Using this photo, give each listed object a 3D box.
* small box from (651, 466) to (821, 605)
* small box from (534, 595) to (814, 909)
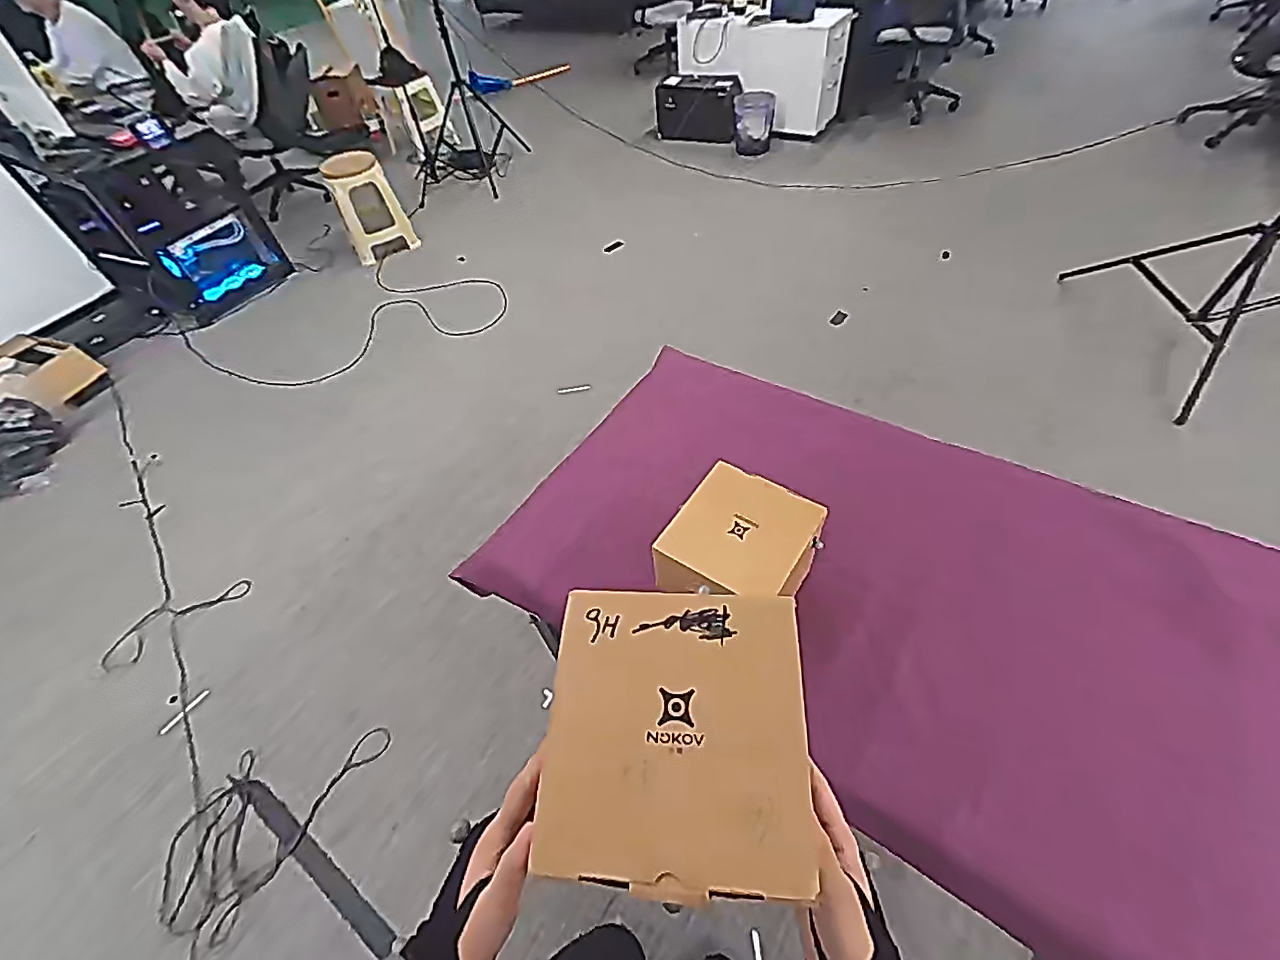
[{"bbox_3d":[0.134,0.119,0.768,0.168,0.176,0.179,26,57,24],"label":"small box"},{"bbox_3d":[0.032,0.204,0.418,0.168,0.176,0.179,1,57,7],"label":"small box"}]
